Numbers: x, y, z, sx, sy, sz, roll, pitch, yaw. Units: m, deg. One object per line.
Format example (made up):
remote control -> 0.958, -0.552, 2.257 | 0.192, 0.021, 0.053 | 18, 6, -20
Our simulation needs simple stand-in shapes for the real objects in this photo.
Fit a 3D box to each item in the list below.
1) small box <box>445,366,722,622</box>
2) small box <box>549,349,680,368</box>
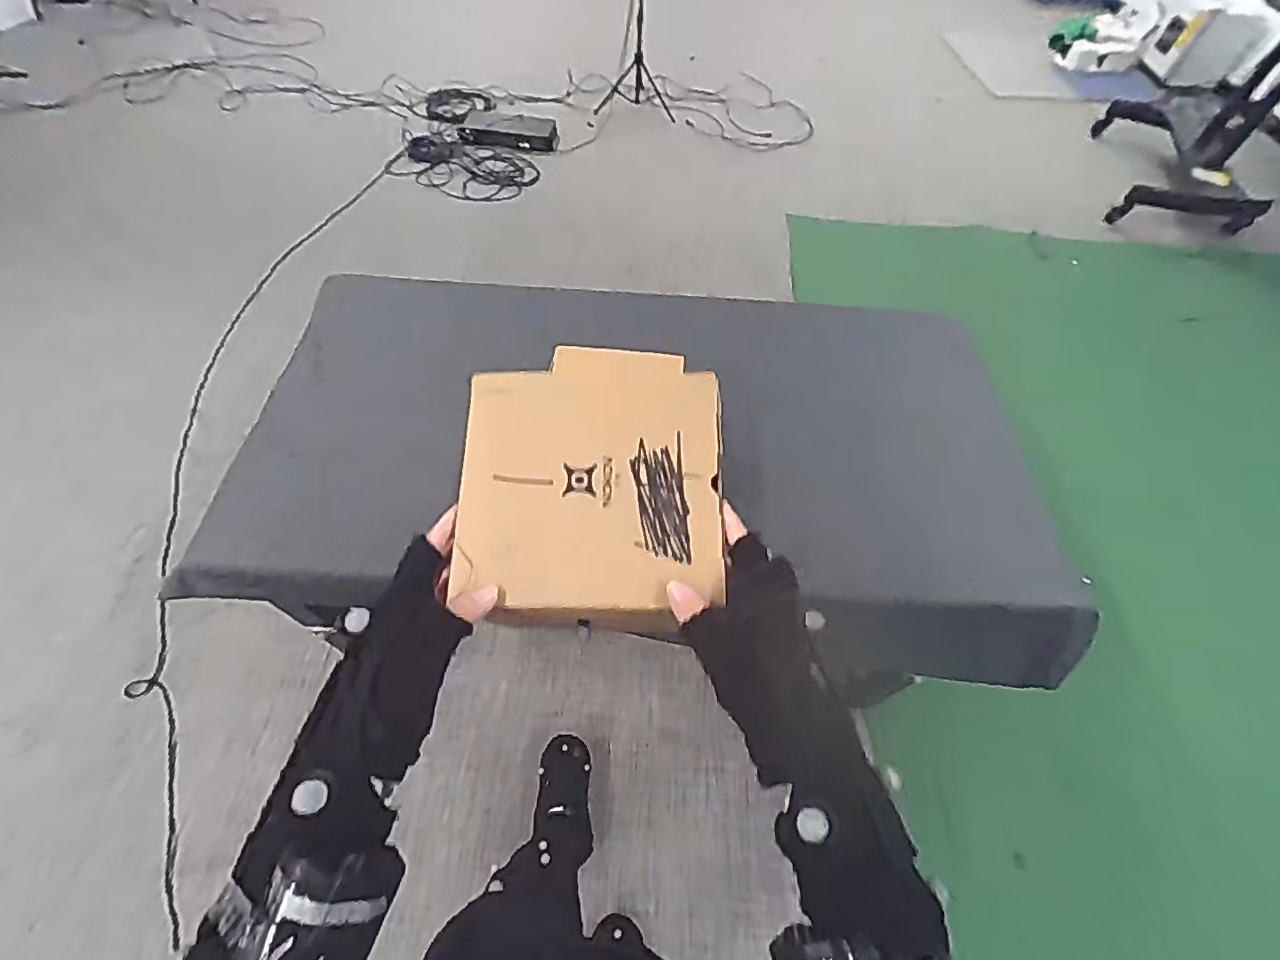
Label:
small box -> -0.035, 0.023, 0.437 | 0.179, 0.176, 0.168 | -1, 71, 1
small box -> -0.039, -0.060, 0.751 | 0.179, 0.176, 0.168 | 4, 57, -1
